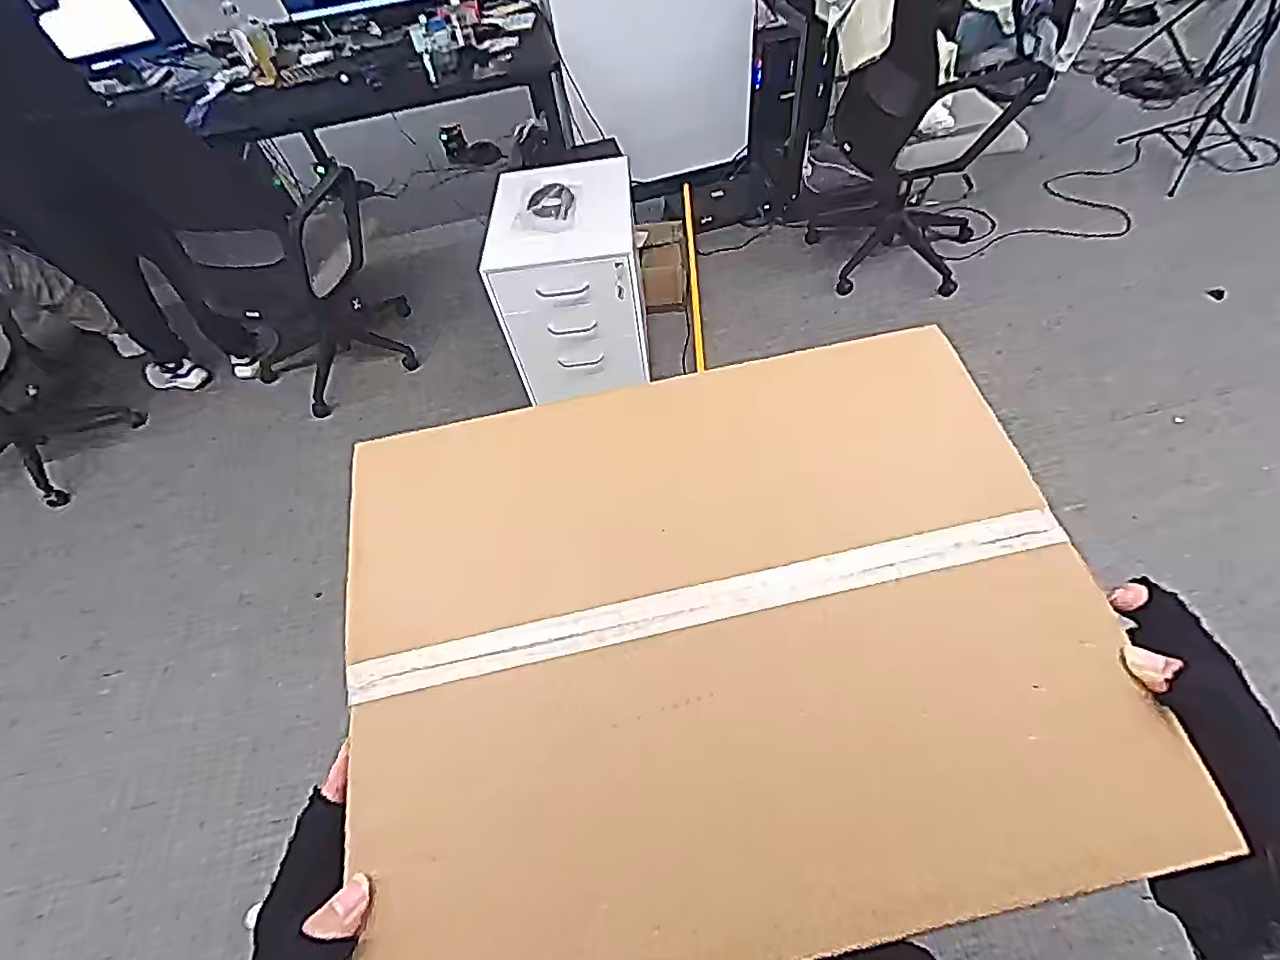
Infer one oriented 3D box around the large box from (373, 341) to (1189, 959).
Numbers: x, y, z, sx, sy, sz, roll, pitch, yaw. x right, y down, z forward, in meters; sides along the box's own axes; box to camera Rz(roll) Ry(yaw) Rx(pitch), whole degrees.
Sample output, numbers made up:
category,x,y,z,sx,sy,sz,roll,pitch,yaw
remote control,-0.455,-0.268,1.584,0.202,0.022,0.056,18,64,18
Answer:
category,x,y,z,sx,sy,sz,roll,pitch,yaw
large box,0.050,0.141,0.449,0.408,0.320,0.320,-12,65,-2
